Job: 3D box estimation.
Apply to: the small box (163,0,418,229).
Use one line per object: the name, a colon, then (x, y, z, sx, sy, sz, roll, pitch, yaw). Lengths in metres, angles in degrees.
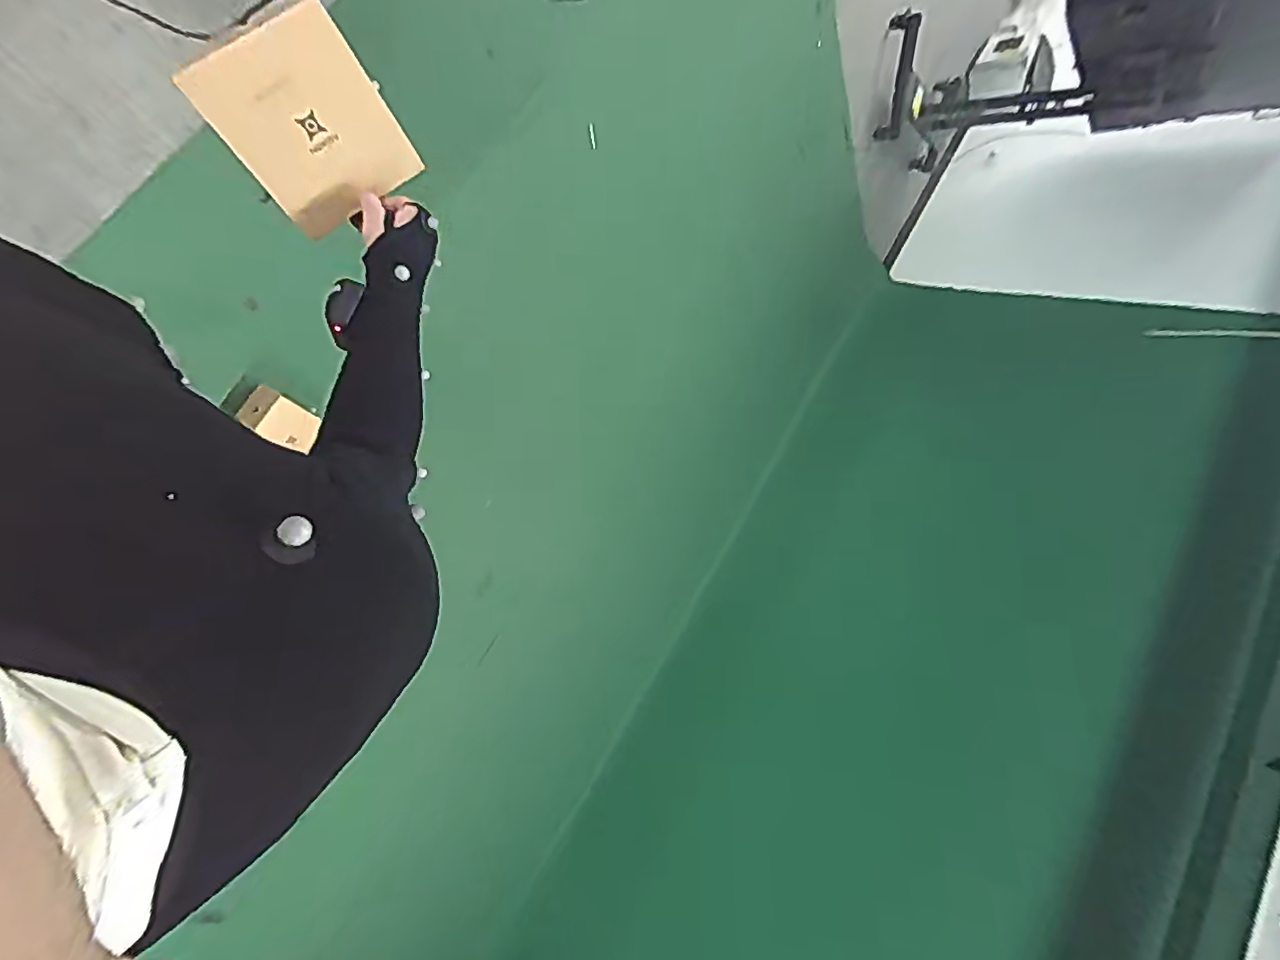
small box: (-0.402, -0.436, 0.631, 0.168, 0.176, 0.179, -40, 142, -9)

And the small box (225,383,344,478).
small box: (-0.922, -0.134, 1.400, 0.168, 0.176, 0.179, -59, 143, -11)
